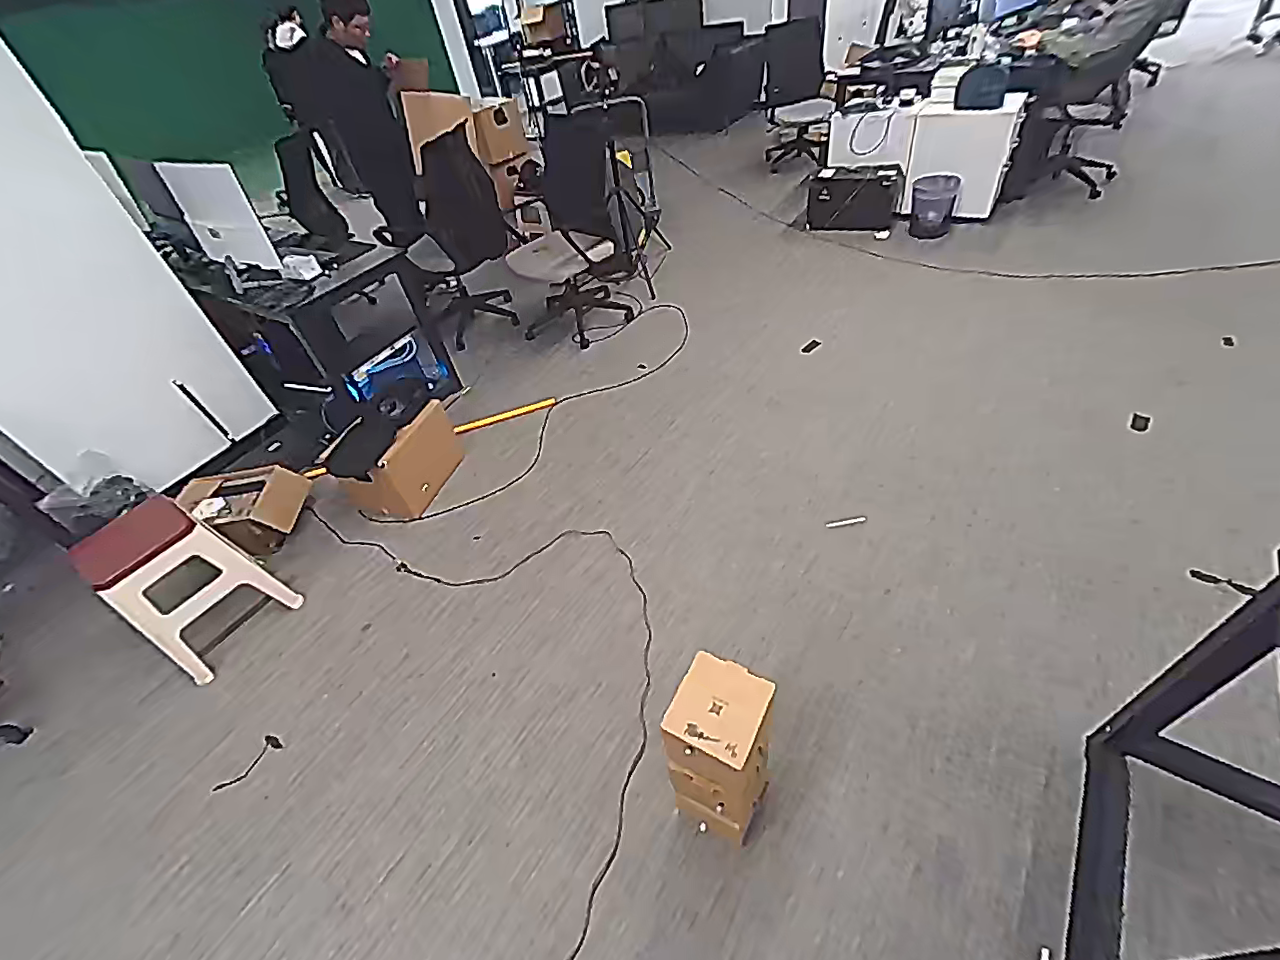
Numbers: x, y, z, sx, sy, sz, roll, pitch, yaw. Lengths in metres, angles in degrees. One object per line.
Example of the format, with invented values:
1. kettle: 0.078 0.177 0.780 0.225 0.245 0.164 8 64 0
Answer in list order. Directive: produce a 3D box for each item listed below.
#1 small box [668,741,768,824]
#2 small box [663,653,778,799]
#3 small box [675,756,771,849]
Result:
1. small box: 0.178 0.610 1.179 0.168 0.176 0.179 15 48 24
2. small box: 0.162 0.486 1.072 0.168 0.176 0.179 17 50 27
3. small box: 0.200 0.730 1.286 0.168 0.176 0.179 17 51 27
